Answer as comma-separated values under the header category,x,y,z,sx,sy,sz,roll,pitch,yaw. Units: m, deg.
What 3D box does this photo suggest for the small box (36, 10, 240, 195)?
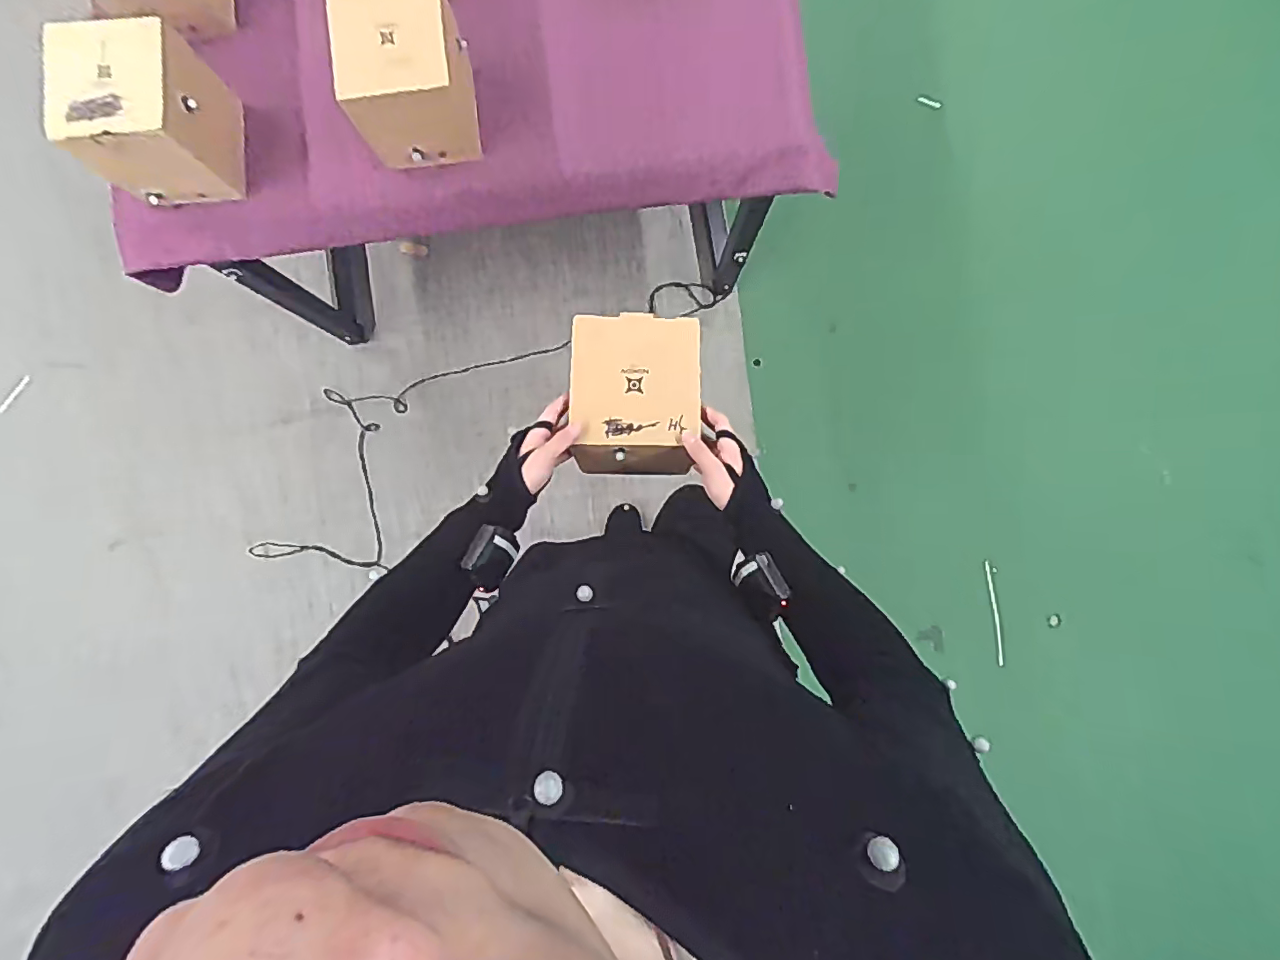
category,x,y,z,sx,sy,sz,roll,pitch,yaw
small box,-0.756,-0.564,0.834,0.168,0.176,0.179,-5,86,-2

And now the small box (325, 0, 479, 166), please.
category,x,y,z,sx,sy,sz,roll,pitch,yaw
small box,-0.363,-0.633,0.848,0.168,0.176,0.179,-7,88,-1

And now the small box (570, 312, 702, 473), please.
category,x,y,z,sx,sy,sz,roll,pitch,yaw
small box,-0.005,-0.114,0.760,0.168,0.176,0.179,1,79,0
